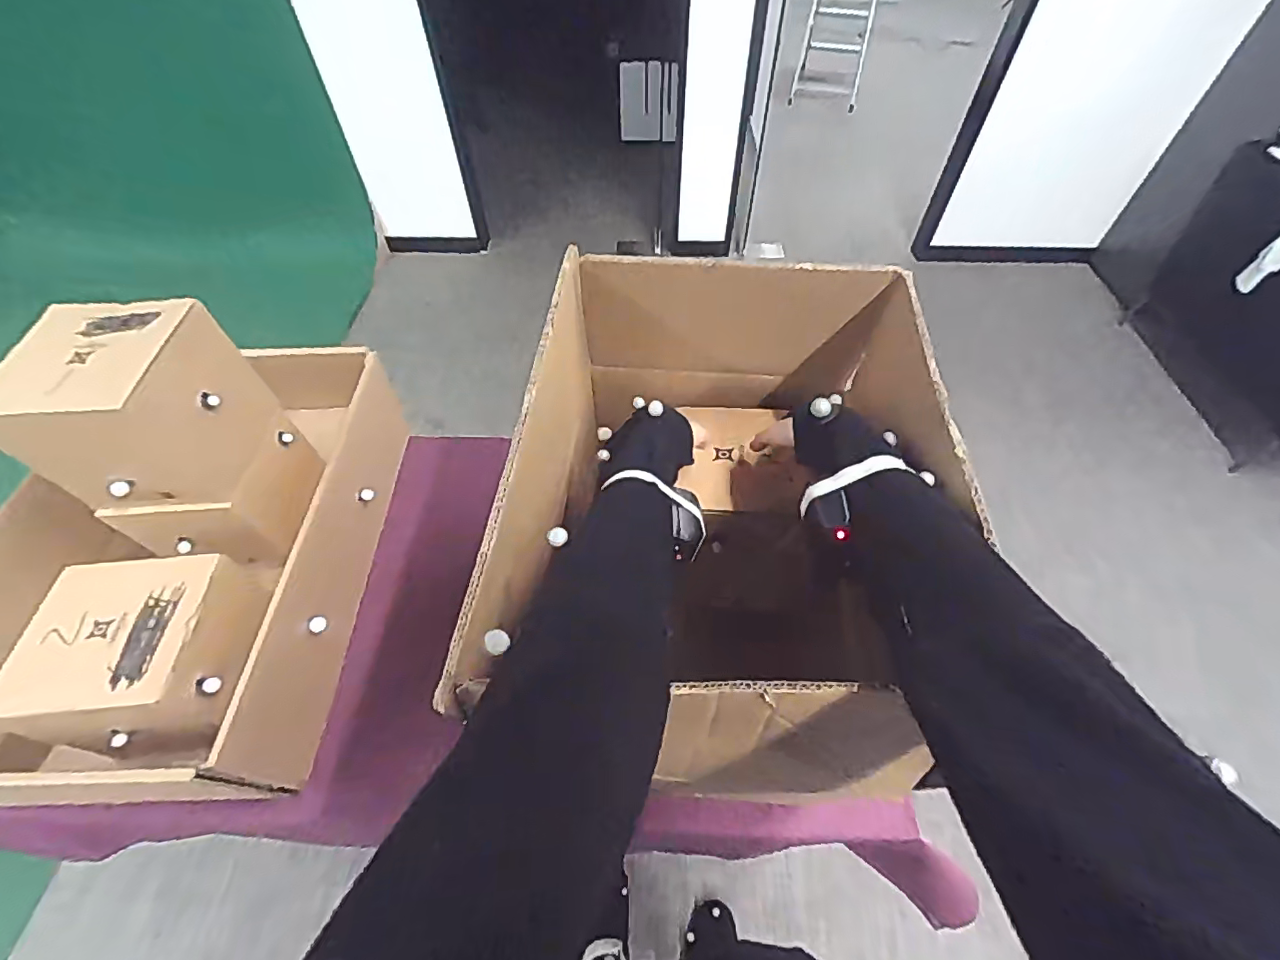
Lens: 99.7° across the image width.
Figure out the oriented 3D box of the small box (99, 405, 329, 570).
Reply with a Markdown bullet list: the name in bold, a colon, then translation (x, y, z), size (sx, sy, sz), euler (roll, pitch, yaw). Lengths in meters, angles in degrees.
- **small box**: translation (-0.578, 0.019, 0.768), size (0.168, 0.176, 0.179), euler (-4, 54, -1)

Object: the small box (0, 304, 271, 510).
- **small box**: translation (-0.582, -0.083, 0.639), size (0.168, 0.176, 0.179), euler (-3, 56, 0)
